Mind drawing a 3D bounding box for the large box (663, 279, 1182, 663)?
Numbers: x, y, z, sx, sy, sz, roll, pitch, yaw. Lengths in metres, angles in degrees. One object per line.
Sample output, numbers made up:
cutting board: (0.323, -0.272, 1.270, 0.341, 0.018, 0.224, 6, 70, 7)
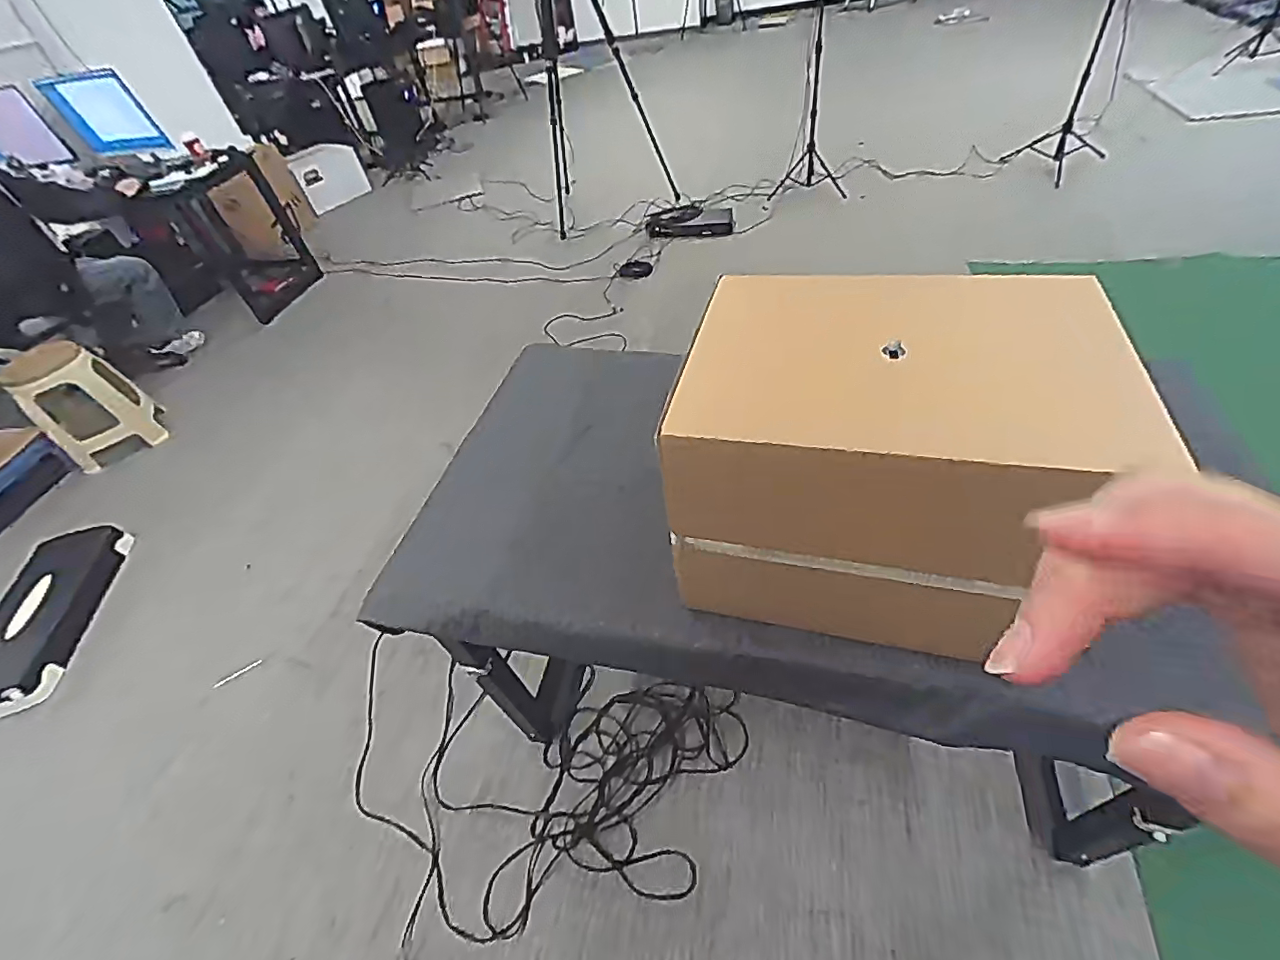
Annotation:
large box: (0.268, -0.020, 0.645, 0.408, 0.320, 0.320, 6, 48, 16)
